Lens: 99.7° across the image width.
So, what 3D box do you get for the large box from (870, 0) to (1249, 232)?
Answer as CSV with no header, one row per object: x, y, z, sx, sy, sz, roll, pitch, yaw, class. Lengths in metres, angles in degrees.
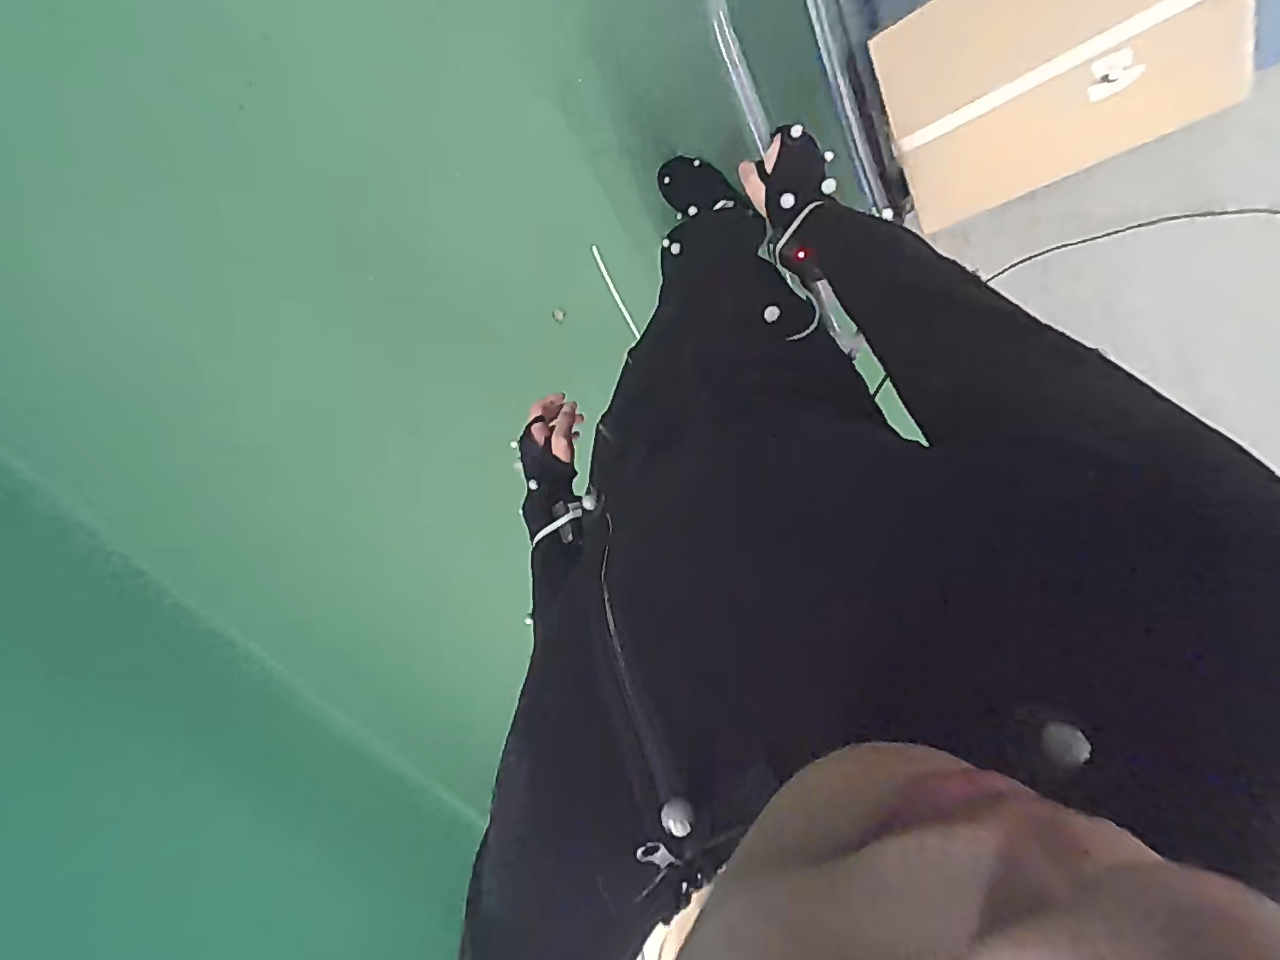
0.633,-0.684,0.882,0.408,0.320,0.320,-16,122,34,large box
